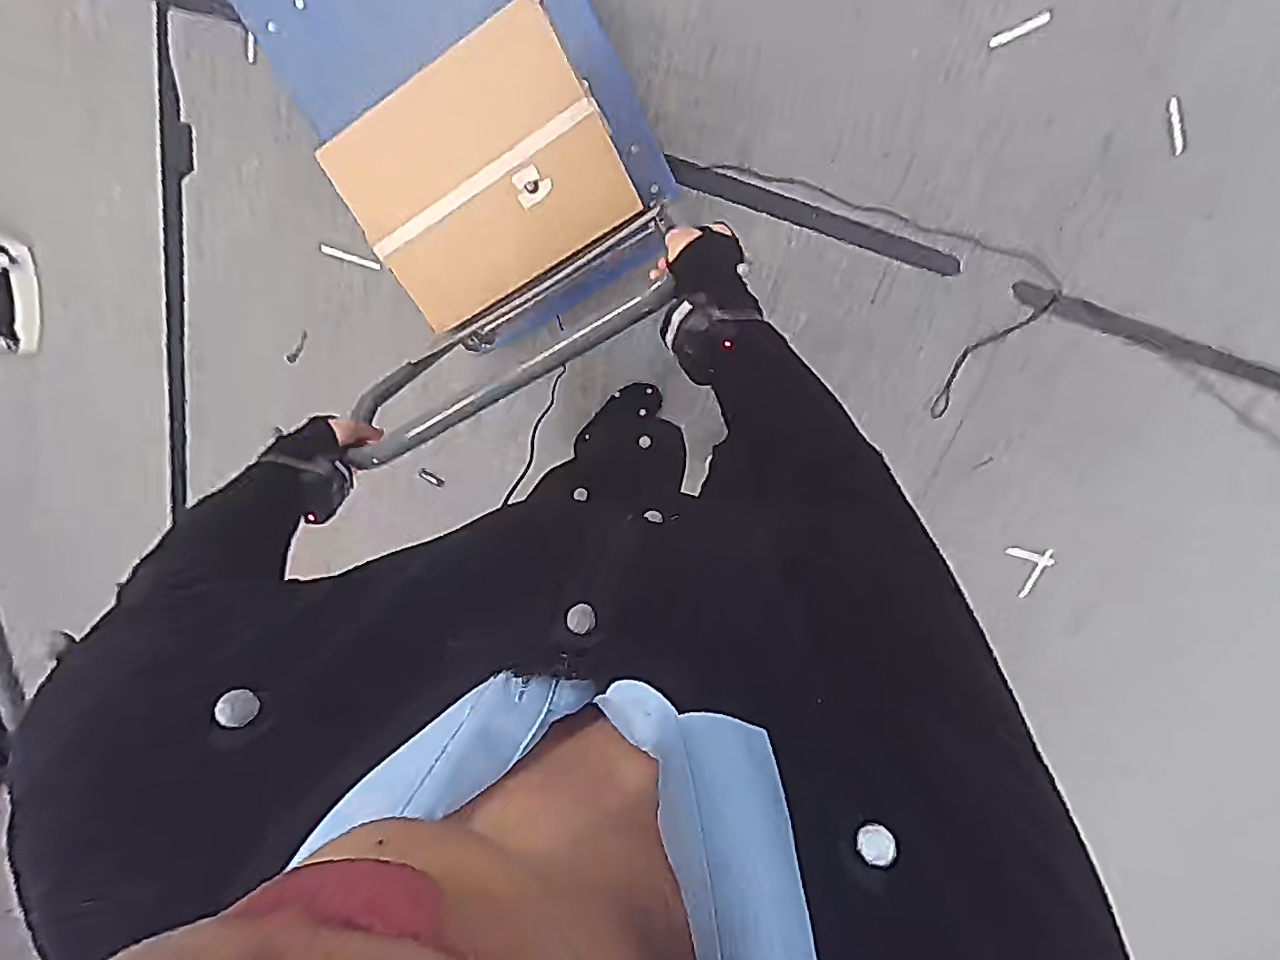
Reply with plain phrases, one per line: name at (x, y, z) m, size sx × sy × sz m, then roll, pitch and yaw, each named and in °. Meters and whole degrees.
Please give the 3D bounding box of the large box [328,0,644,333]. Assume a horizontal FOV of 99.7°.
large box at (-0.238, -0.517, 0.975) m, size 0.408 × 0.320 × 0.320 m, roll -28°, pitch 110°, yaw 12°
